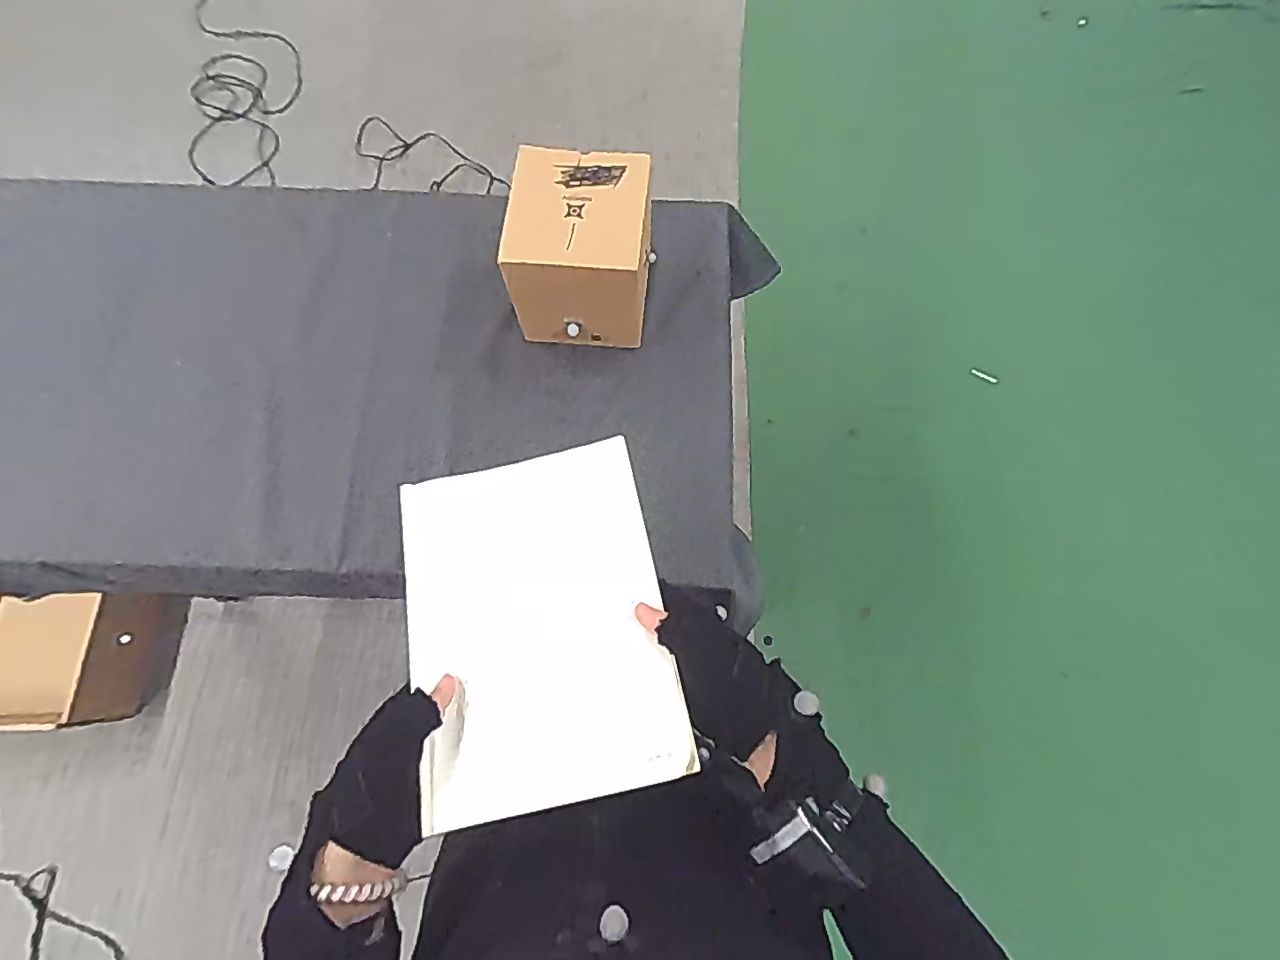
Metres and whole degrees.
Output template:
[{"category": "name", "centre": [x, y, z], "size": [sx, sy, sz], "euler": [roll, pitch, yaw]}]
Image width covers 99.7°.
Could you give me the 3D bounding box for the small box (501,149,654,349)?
[{"category": "small box", "centre": [-0.072, -0.299, 0.721], "size": [0.168, 0.176, 0.179], "euler": [5, 72, 2]}]
